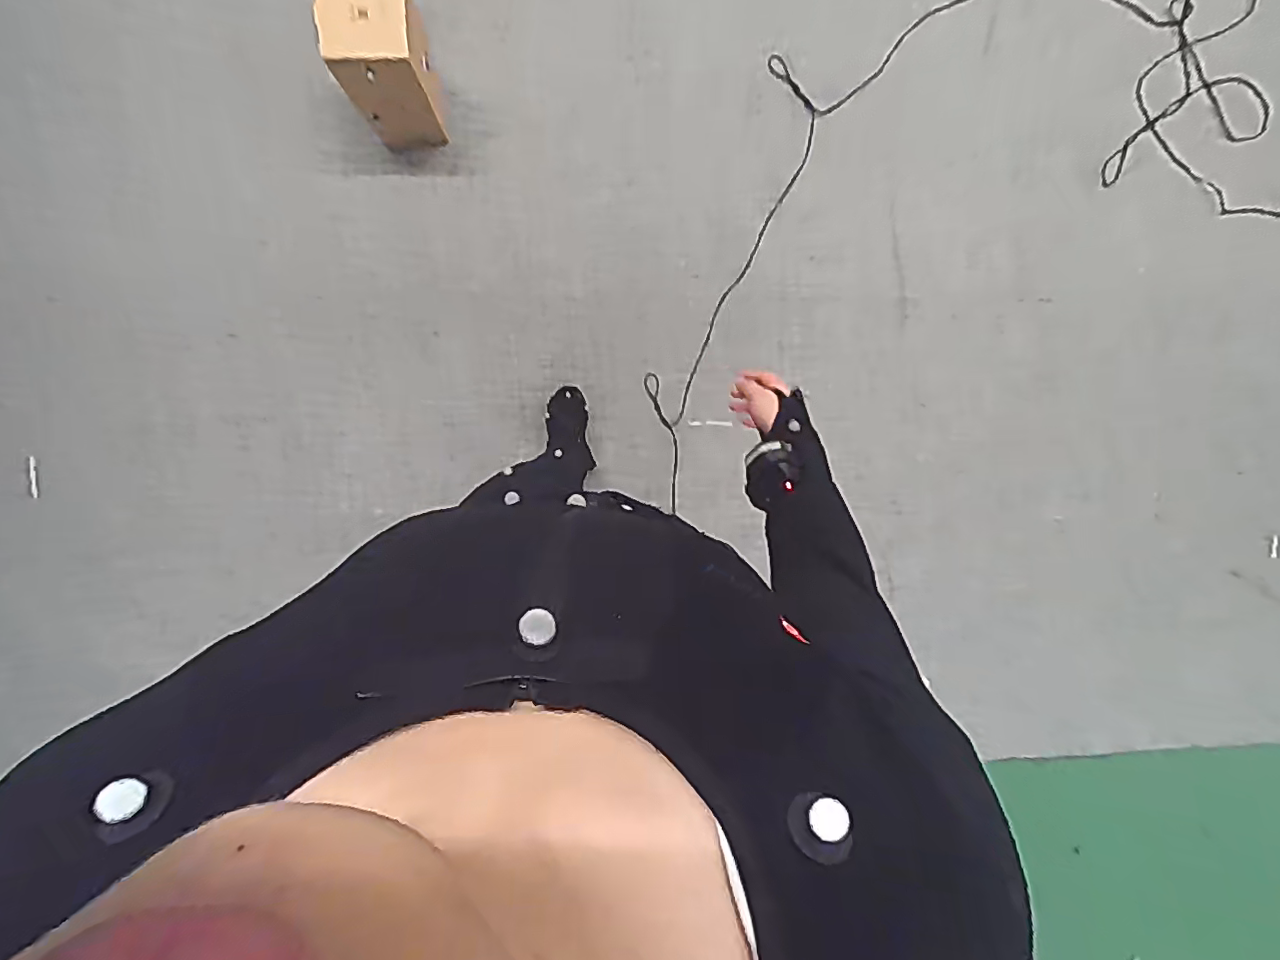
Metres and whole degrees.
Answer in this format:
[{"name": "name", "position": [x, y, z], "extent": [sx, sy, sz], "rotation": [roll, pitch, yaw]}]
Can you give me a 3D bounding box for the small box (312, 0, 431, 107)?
[{"name": "small box", "position": [-0.561, -0.924, 1.146], "extent": [0.179, 0.176, 0.168], "rotation": [-3, 94, -5]}]
